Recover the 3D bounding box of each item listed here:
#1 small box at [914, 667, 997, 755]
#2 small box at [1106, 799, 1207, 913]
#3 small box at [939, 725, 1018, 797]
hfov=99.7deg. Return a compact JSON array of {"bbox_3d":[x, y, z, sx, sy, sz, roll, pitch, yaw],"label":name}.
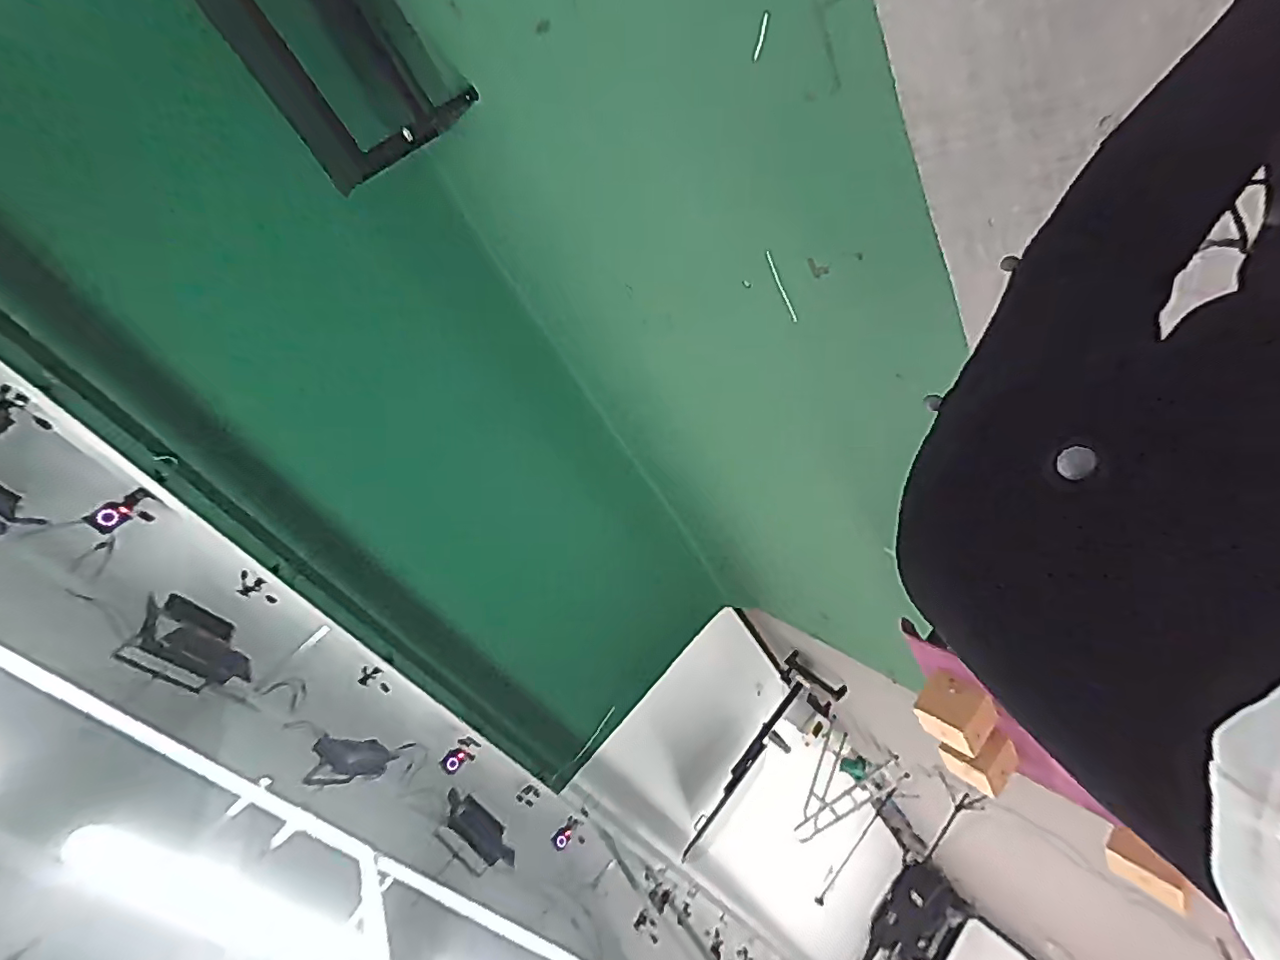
[{"bbox_3d":[1.049,0.761,1.792,0.168,0.176,0.179,17,147,55],"label":"small box"},{"bbox_3d":[1.454,1.049,1.520,0.168,0.176,0.179,17,147,56],"label":"small box"},{"bbox_3d":[1.200,0.962,1.910,0.168,0.176,0.179,16,146,57],"label":"small box"}]
